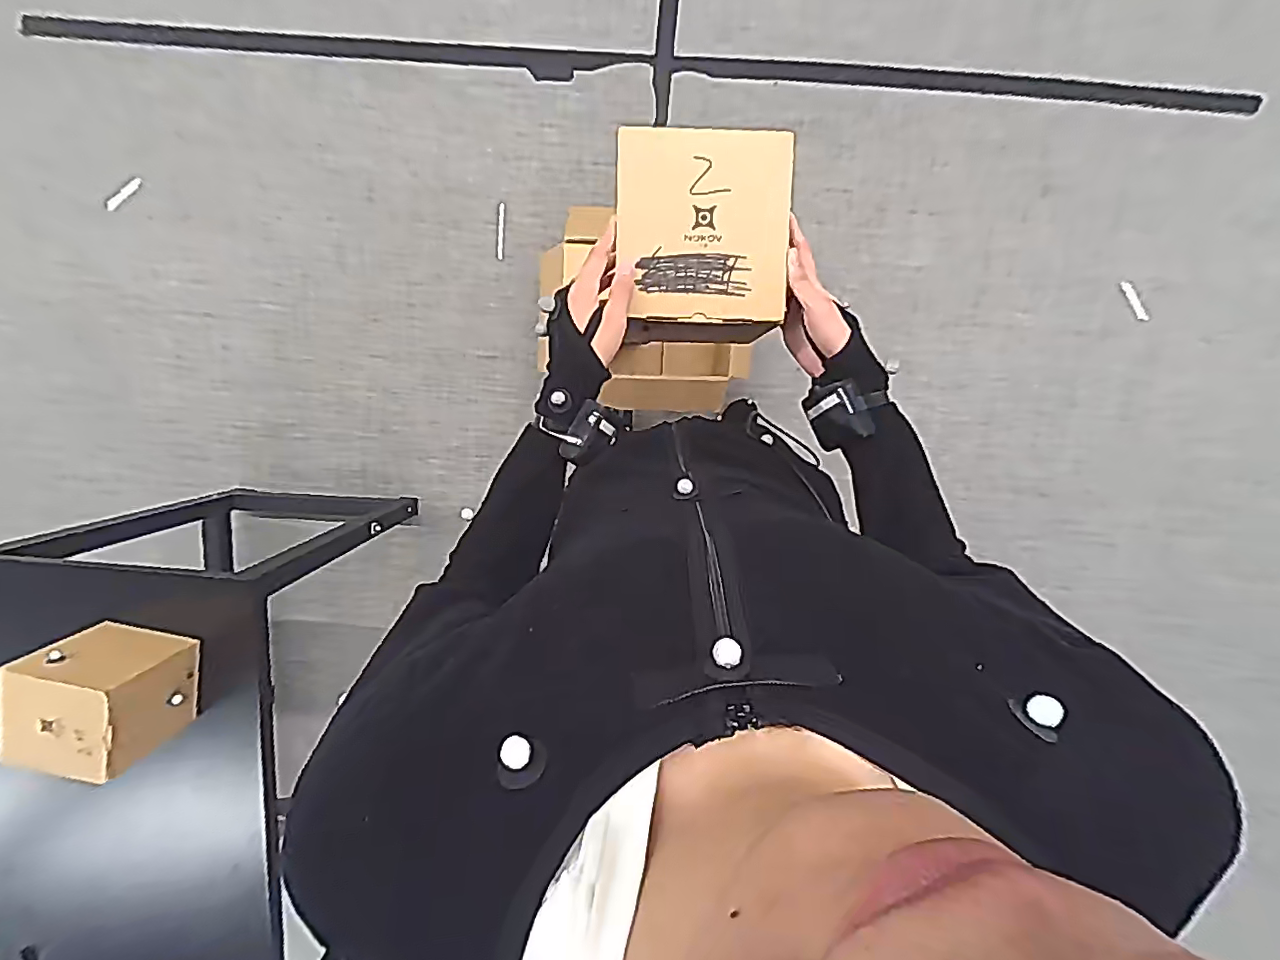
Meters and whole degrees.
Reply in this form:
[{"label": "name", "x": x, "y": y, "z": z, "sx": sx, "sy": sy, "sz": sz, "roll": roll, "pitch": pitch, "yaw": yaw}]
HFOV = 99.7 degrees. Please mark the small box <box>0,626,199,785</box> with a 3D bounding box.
[{"label": "small box", "x": -0.893, "y": 0.363, "z": 0.901, "sx": 0.179, "sy": 0.176, "sz": 0.168, "roll": 12, "pitch": 101, "yaw": -1}]
